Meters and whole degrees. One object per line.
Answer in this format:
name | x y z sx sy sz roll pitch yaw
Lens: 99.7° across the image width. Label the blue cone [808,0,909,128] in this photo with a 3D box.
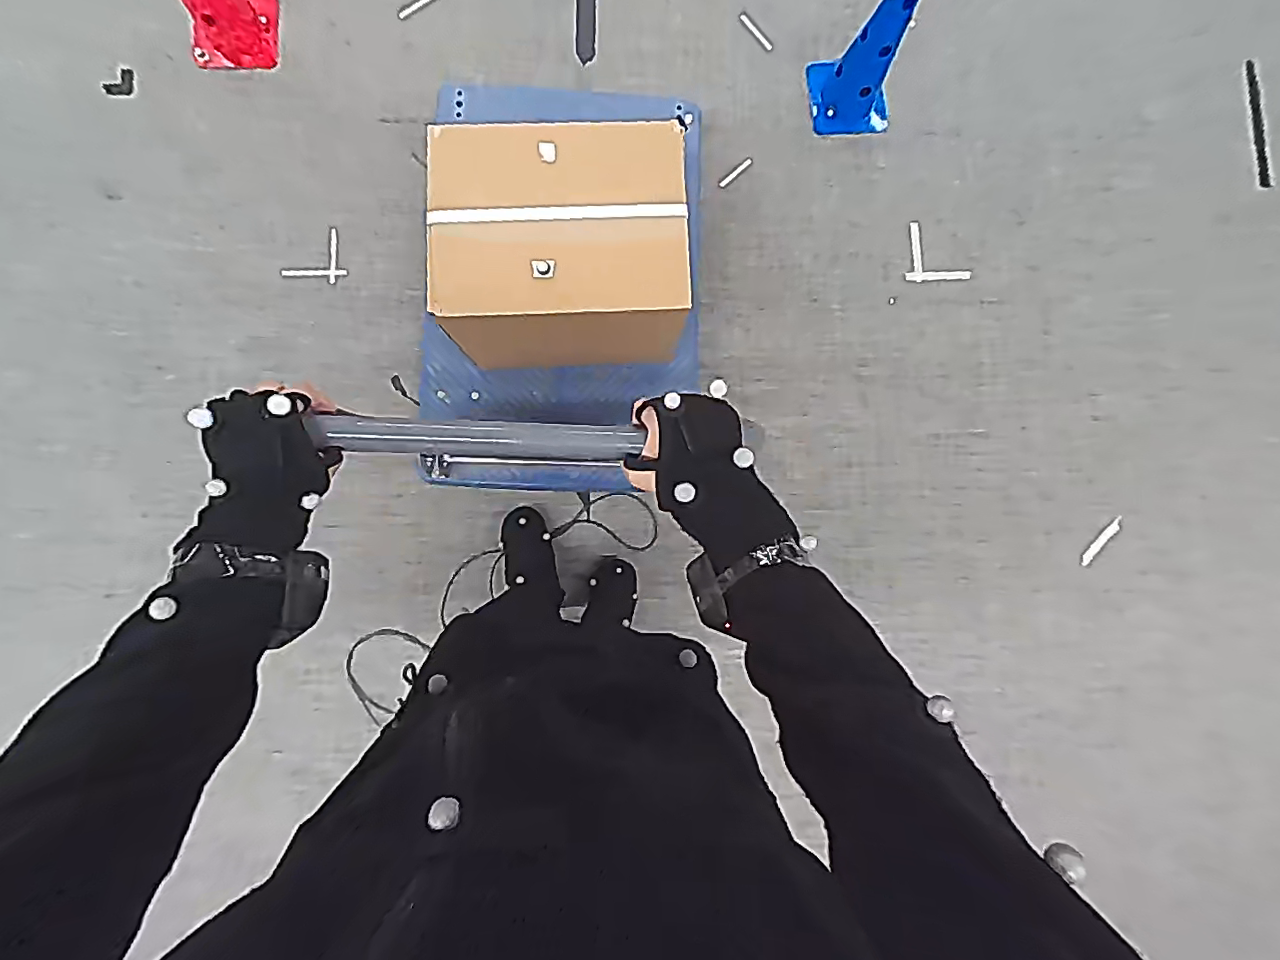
blue cone | 0.549 -1.023 1.247 0.193 0.380 0.192 -4 85 -4
